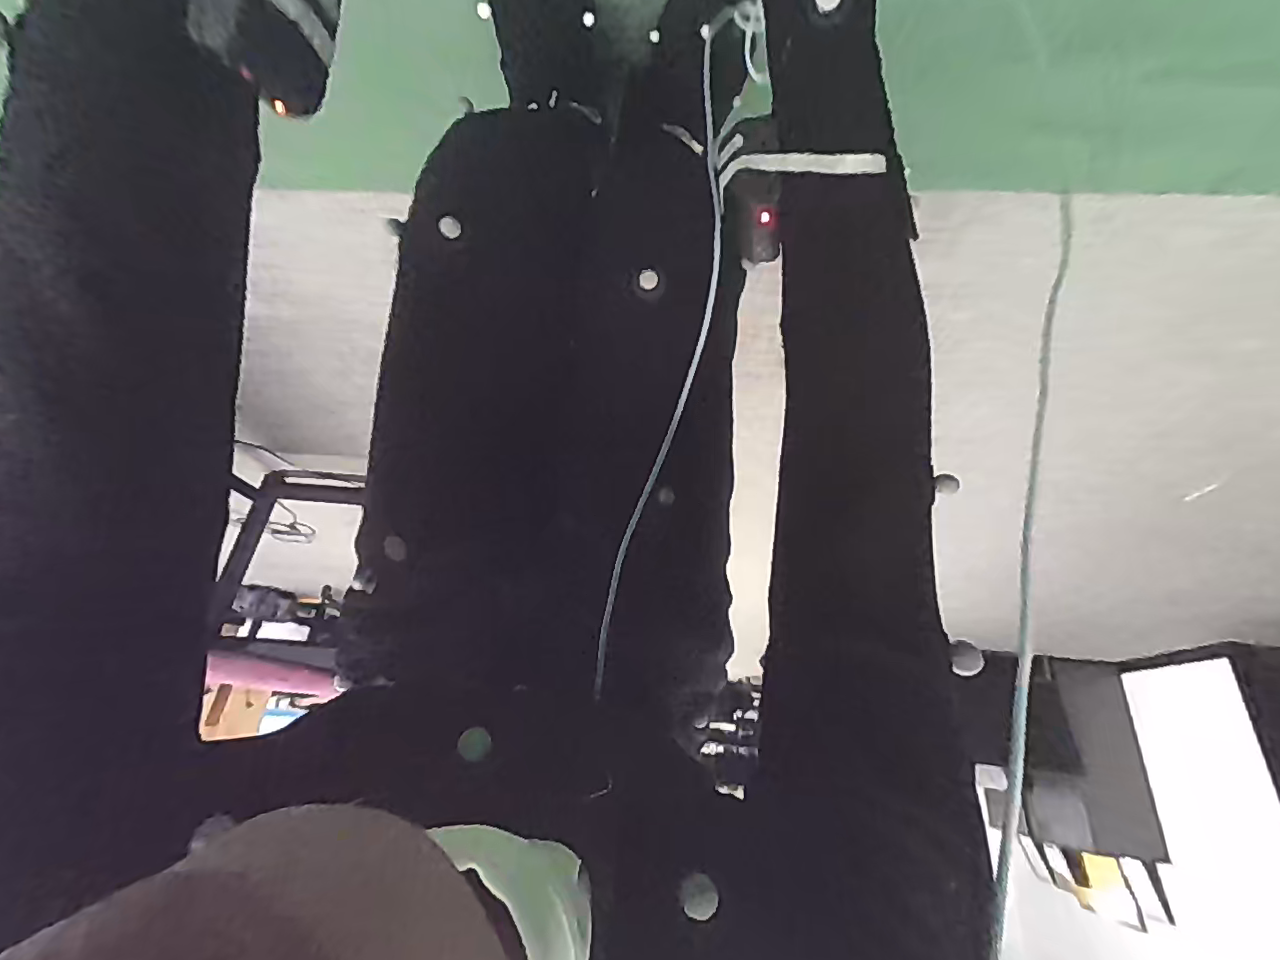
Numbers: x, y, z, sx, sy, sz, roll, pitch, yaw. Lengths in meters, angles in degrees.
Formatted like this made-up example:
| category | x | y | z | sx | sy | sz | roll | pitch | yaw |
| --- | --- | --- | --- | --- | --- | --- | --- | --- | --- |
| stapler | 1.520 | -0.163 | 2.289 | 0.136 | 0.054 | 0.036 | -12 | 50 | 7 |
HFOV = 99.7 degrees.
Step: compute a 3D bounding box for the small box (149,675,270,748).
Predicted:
| category | x | y | z | sx | sy | sz | roll | pitch | yaw |
| --- | --- | --- | --- | --- | --- | --- | --- | --- | --- |
| small box | -1.193 | 0.647 | 1.516 | 0.179 | 0.176 | 0.168 | 5 | 155 | 4 |
